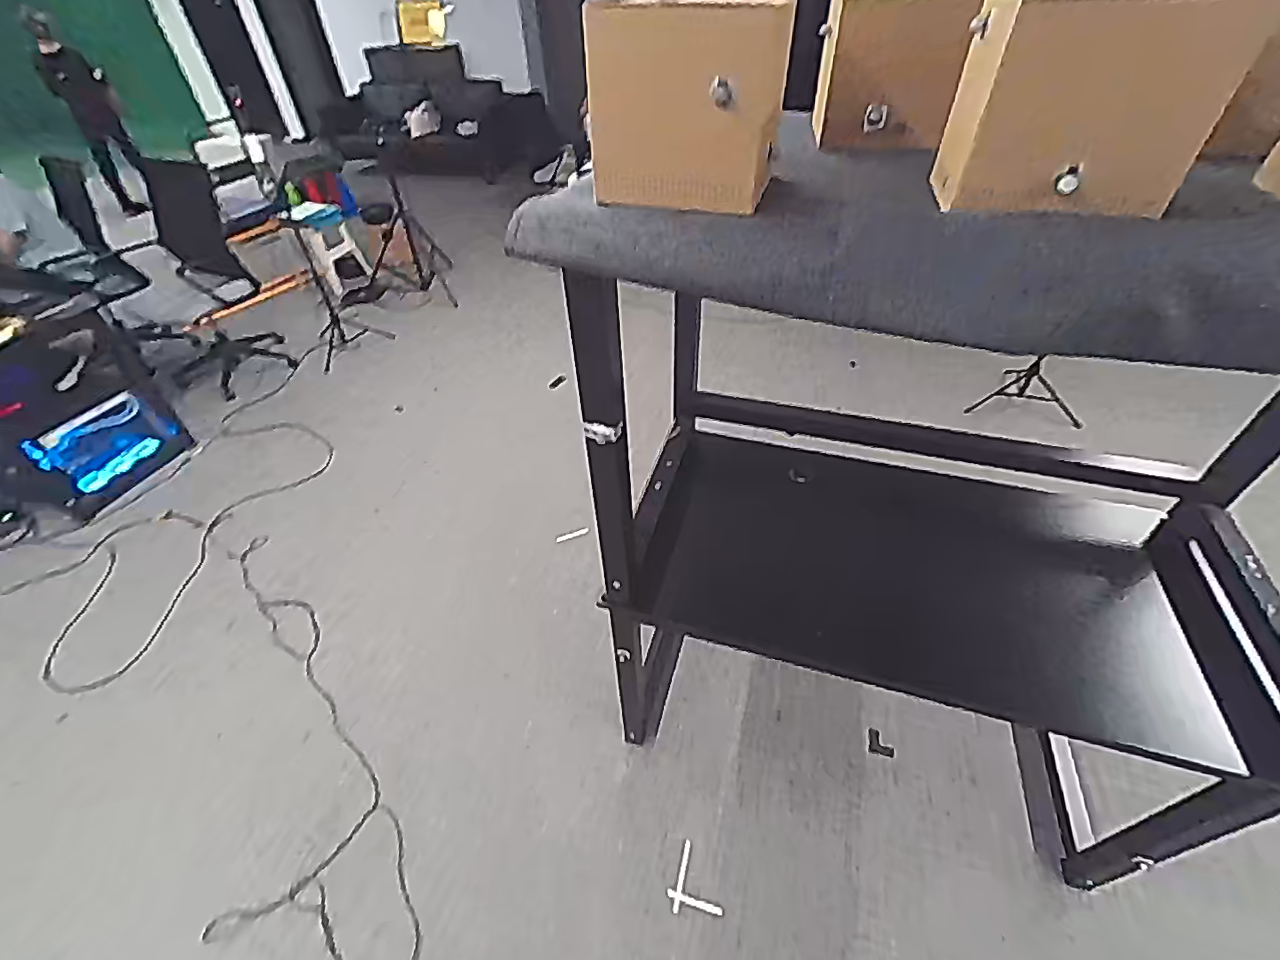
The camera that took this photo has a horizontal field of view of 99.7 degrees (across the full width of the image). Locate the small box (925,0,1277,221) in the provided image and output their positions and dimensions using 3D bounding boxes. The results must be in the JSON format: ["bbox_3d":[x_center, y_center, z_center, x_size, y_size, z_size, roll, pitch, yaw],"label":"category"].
[{"bbox_3d":[0.395,-0.357,0.507,0.179,0.176,0.168,10,43,13],"label":"small box"}]

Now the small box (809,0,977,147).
[{"bbox_3d":[0.333,-0.577,0.749,0.168,0.176,0.179,5,43,10],"label":"small box"}]
